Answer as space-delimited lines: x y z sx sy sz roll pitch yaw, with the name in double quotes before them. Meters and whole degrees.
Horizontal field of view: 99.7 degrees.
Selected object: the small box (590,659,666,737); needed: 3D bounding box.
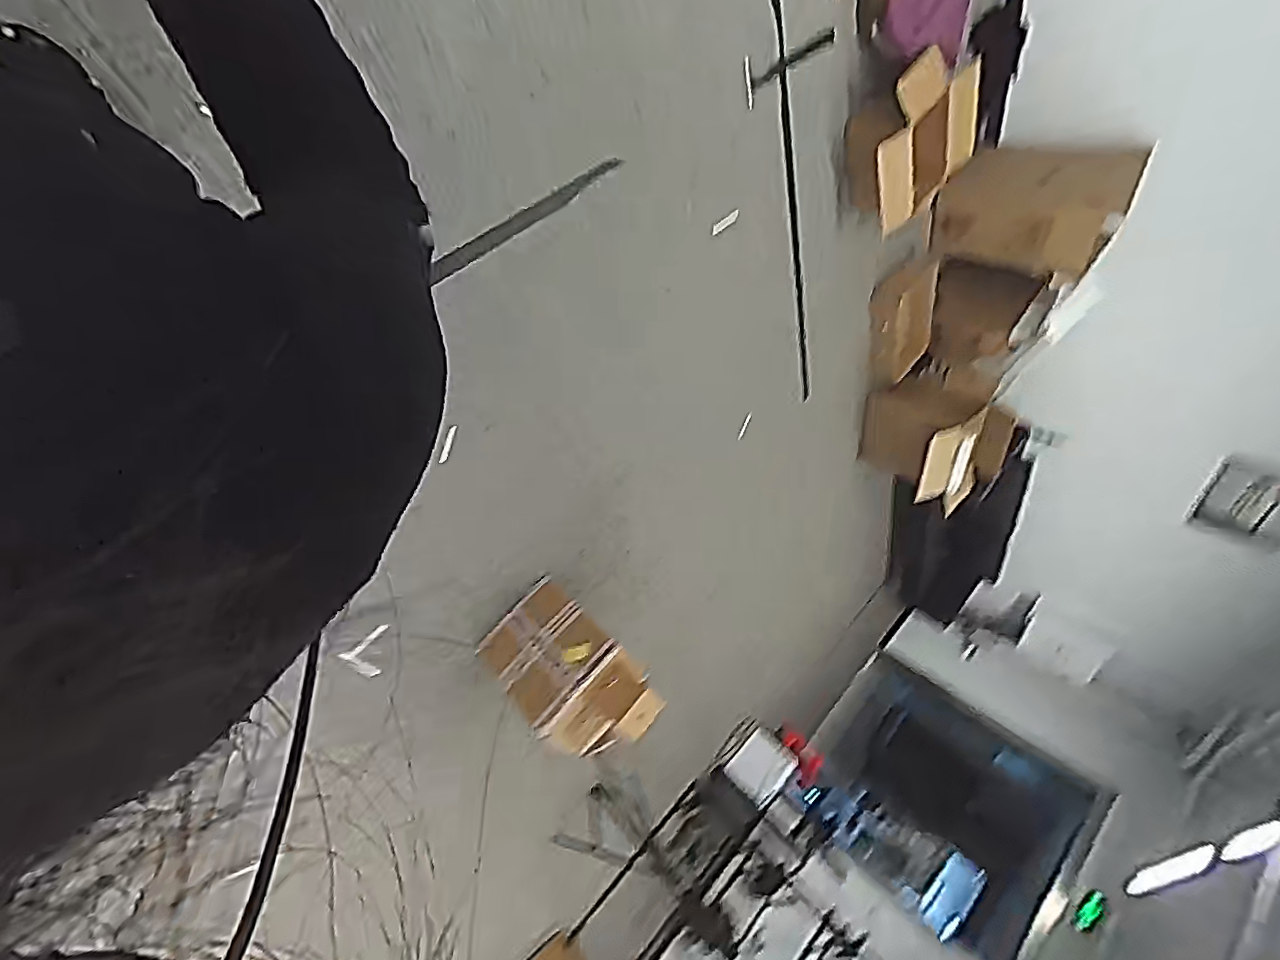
"small box" -0.042 0.764 1.910 0.168 0.176 0.179 -47 135 -17
